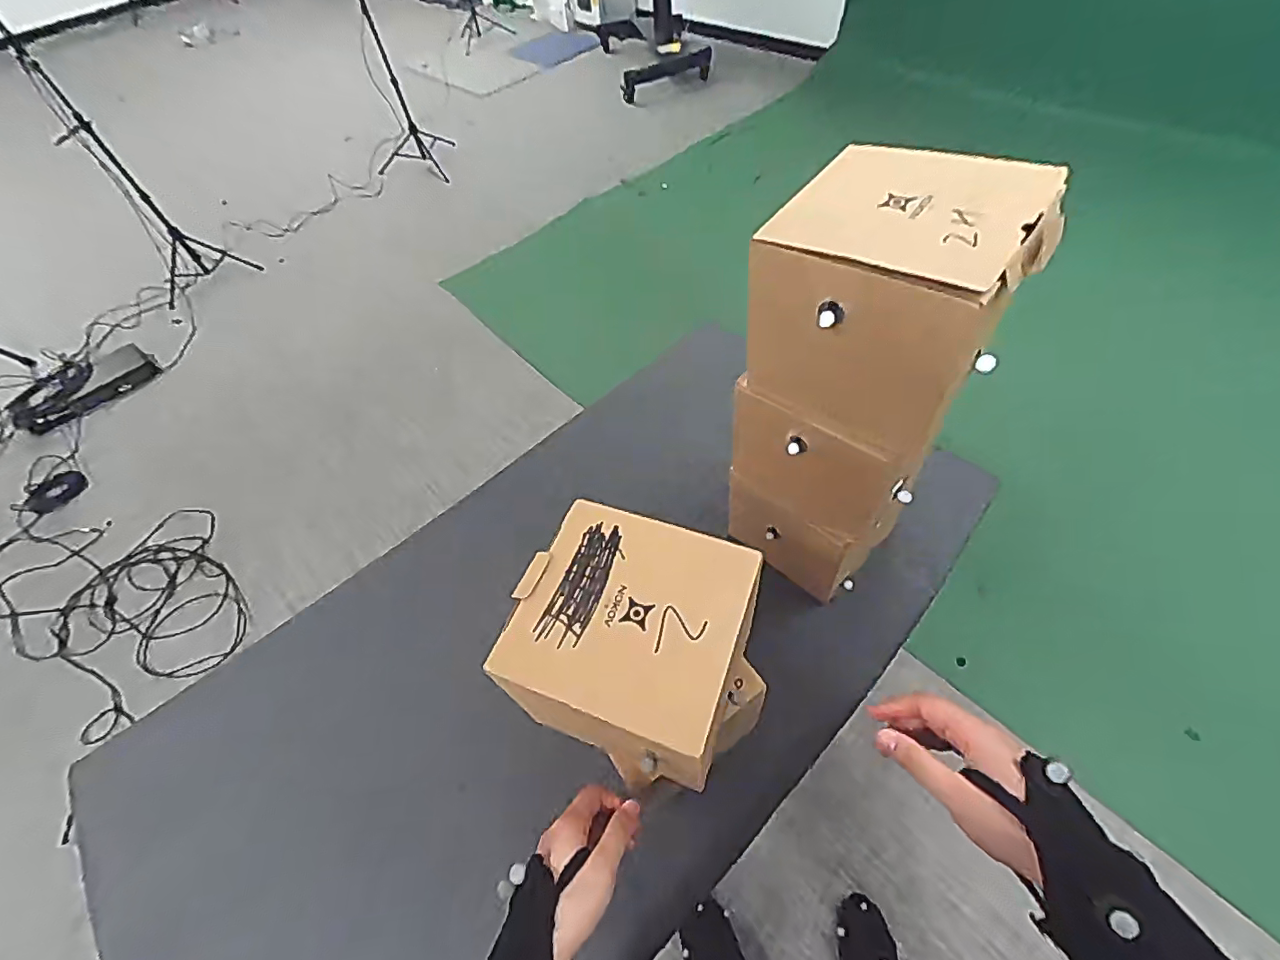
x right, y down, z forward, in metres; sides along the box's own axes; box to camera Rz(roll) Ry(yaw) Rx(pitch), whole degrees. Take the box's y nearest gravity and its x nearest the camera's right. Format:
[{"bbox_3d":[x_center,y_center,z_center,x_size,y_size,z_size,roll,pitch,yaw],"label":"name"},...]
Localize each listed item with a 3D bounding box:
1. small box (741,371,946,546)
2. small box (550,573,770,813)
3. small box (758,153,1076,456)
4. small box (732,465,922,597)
[{"bbox_3d":[0.228,-0.056,0.609,0.179,0.176,0.168,35,66,27],"label":"small box"},{"bbox_3d":[0.022,0.247,0.620,0.168,0.176,0.179,-32,57,-16],"label":"small box"},{"bbox_3d":[0.217,-0.149,0.472,0.179,0.176,0.168,31,65,27],"label":"small box"},{"bbox_3d":[0.244,0.037,0.741,0.168,0.176,0.179,-40,58,-20],"label":"small box"}]
